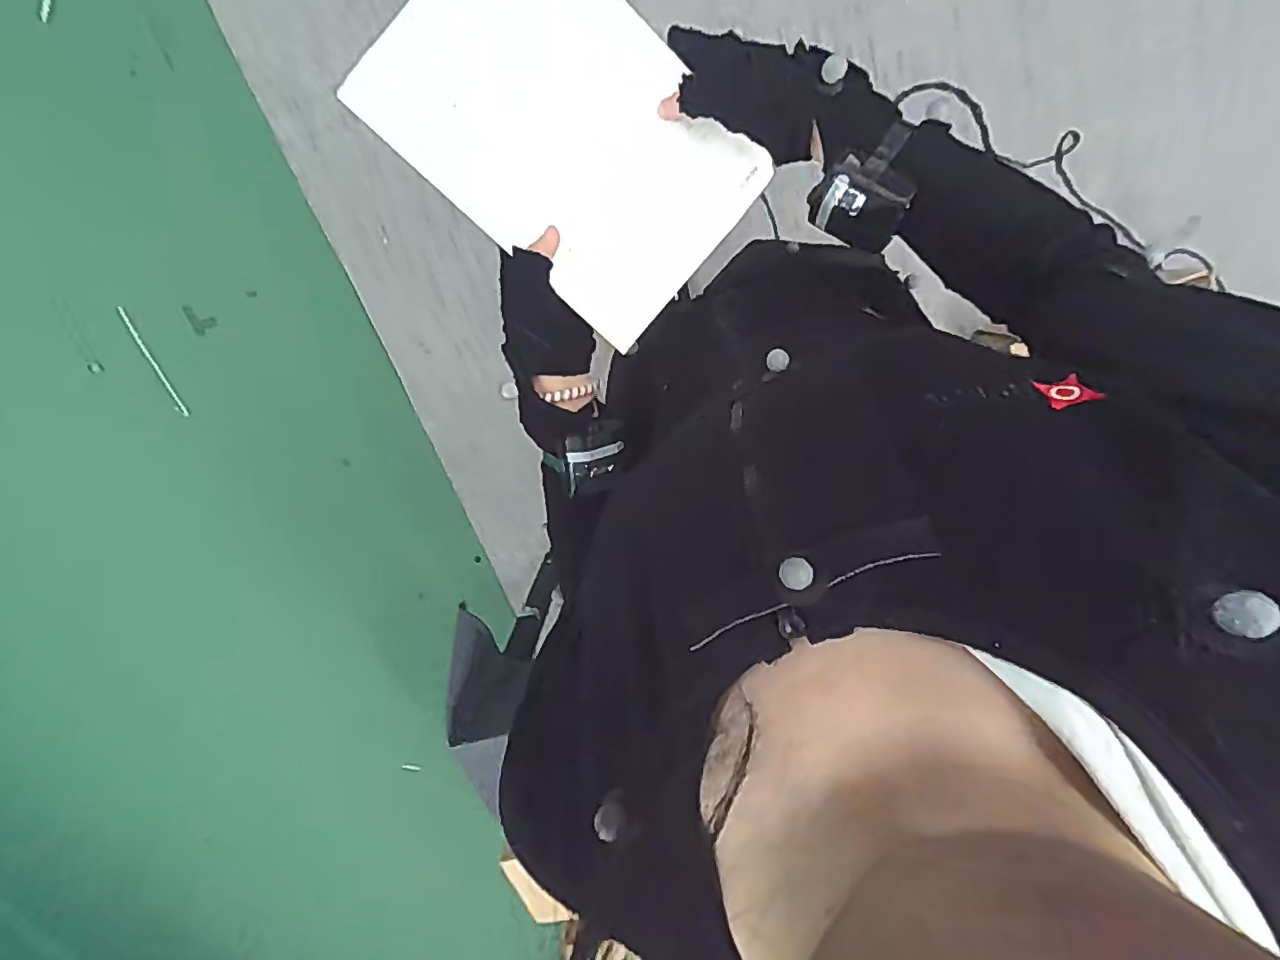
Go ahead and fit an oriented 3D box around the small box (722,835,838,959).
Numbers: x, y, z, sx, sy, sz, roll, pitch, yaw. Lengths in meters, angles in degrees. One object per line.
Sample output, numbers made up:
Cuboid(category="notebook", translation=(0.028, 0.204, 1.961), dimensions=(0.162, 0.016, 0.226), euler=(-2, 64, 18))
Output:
Cuboid(category="small box", translation=(0.248, 0.771, 0.970), dimensions=(0.168, 0.176, 0.179), euler=(-14, 110, 9))
